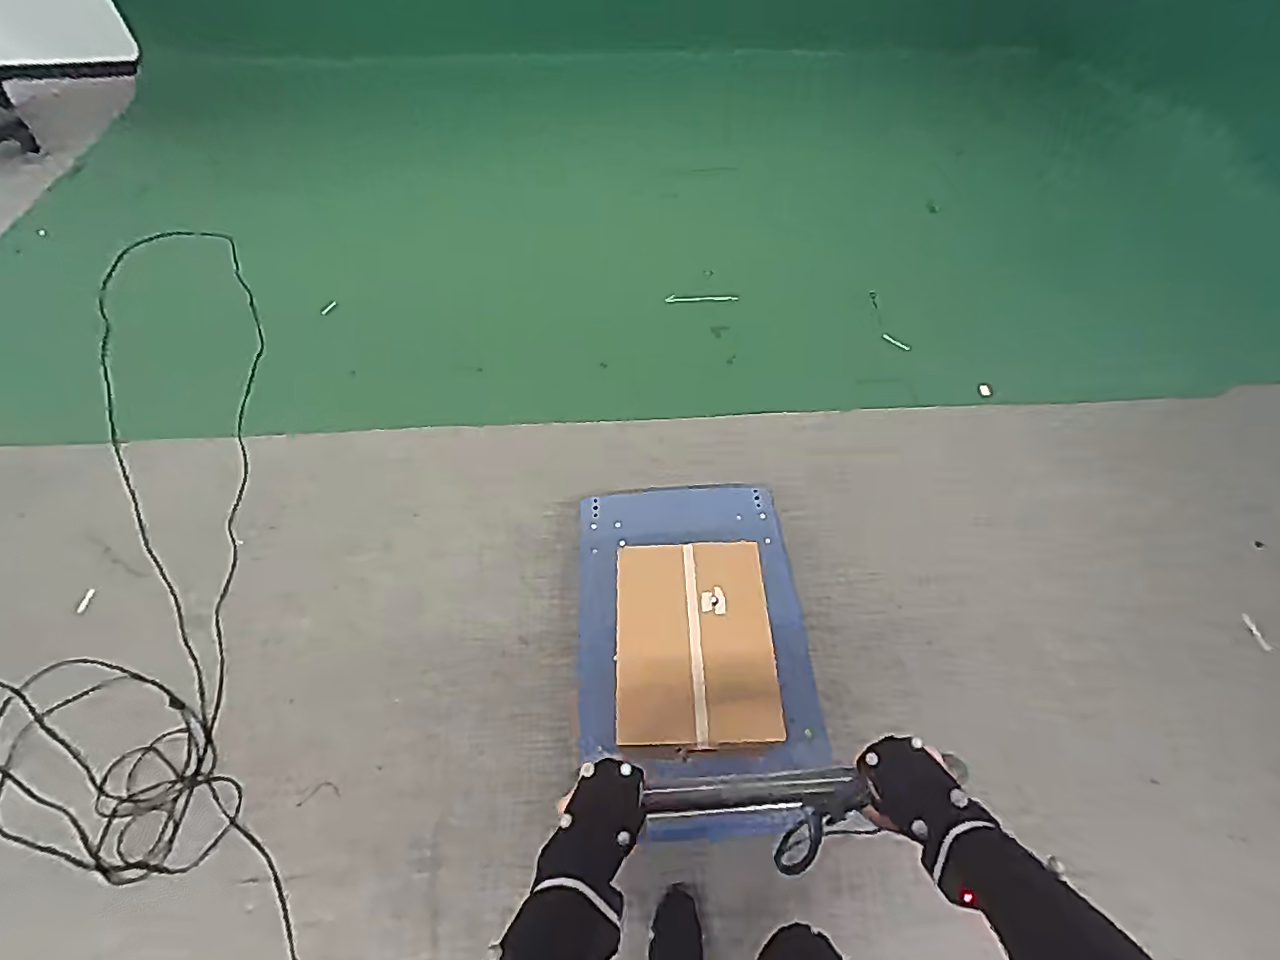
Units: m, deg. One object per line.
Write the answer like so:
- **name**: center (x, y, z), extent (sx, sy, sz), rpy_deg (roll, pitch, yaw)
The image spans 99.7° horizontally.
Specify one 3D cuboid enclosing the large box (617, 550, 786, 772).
- **large box**: center (0.115, 0.411, 1.218), extent (0.320, 0.320, 0.408), rpy_deg (-2, 56, 0)
